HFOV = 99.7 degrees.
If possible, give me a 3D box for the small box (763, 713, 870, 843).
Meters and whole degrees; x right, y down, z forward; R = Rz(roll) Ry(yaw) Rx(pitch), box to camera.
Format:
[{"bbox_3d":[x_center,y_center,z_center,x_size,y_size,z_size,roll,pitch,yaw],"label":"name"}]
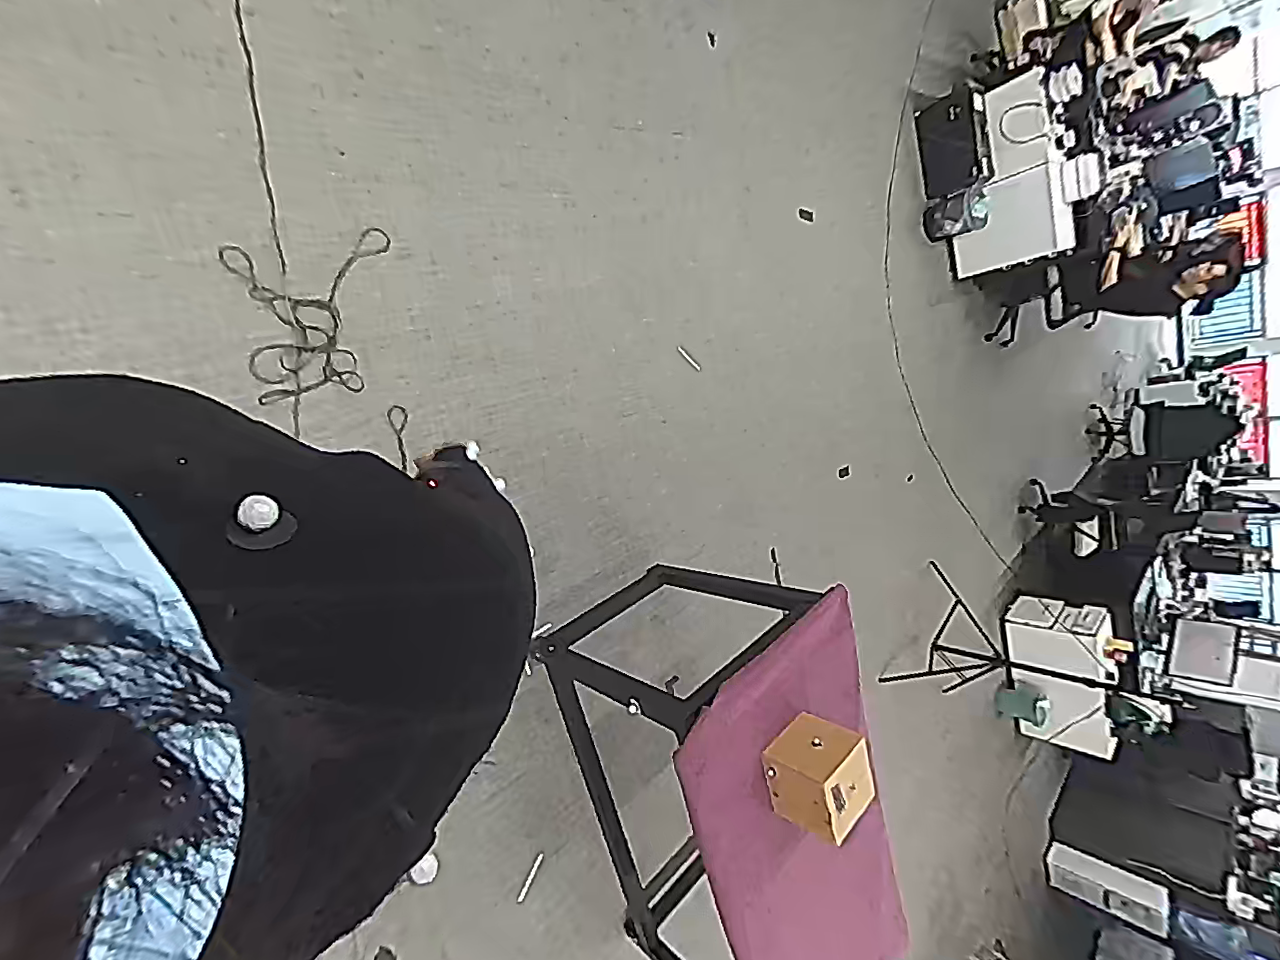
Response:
[{"bbox_3d":[0.404,0.684,1.262,0.179,0.176,0.168,-24,105,-37],"label":"small box"}]
